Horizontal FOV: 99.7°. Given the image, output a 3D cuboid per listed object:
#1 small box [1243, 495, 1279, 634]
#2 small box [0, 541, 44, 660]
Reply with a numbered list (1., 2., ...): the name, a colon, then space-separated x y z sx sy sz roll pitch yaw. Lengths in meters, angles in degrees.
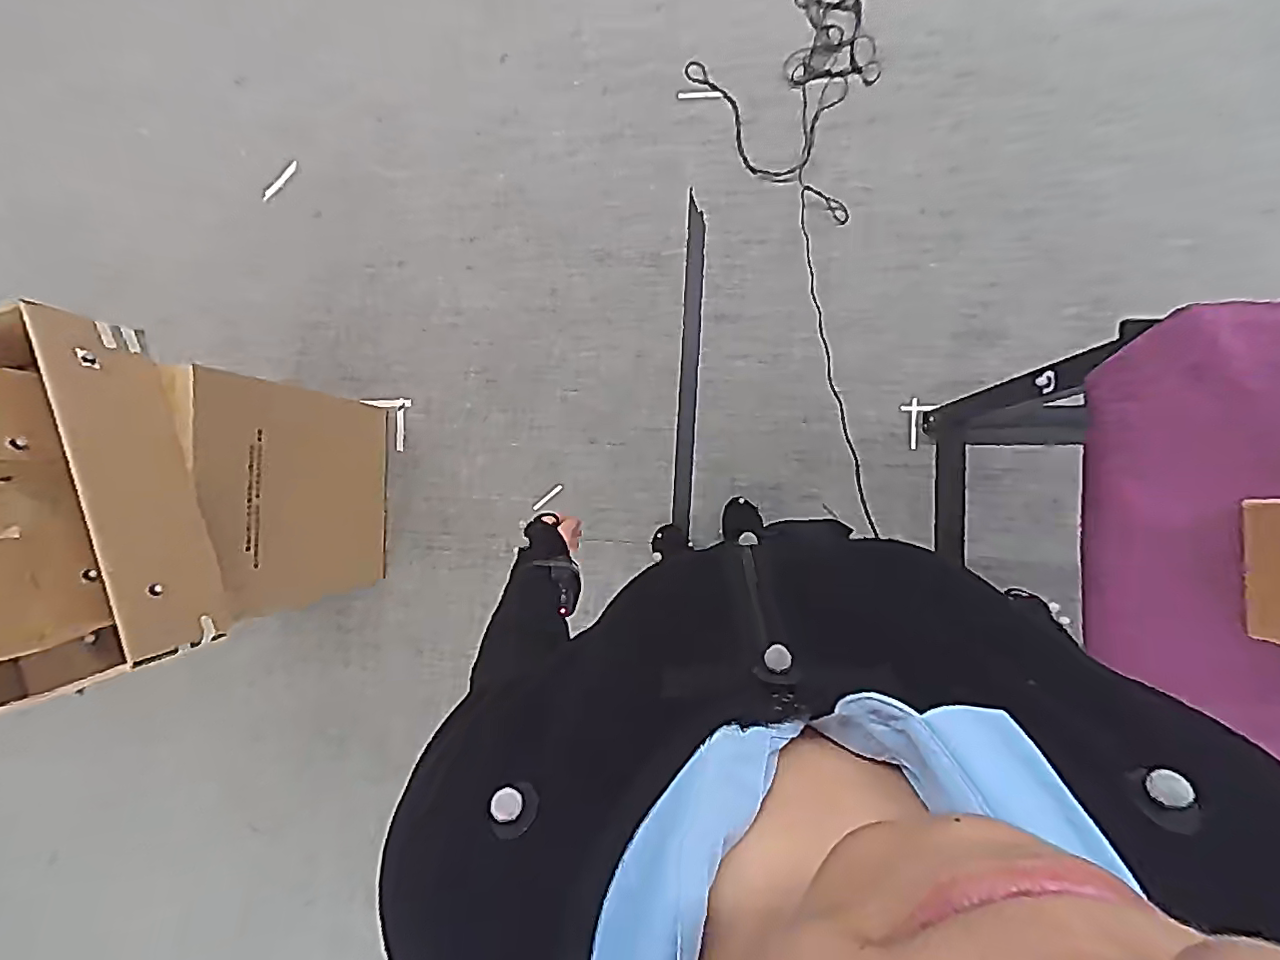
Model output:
1. small box: 0.838 0.104 0.600 0.168 0.176 0.179 -1 89 7
2. small box: -0.994 0.185 0.741 0.168 0.176 0.179 -15 88 6
